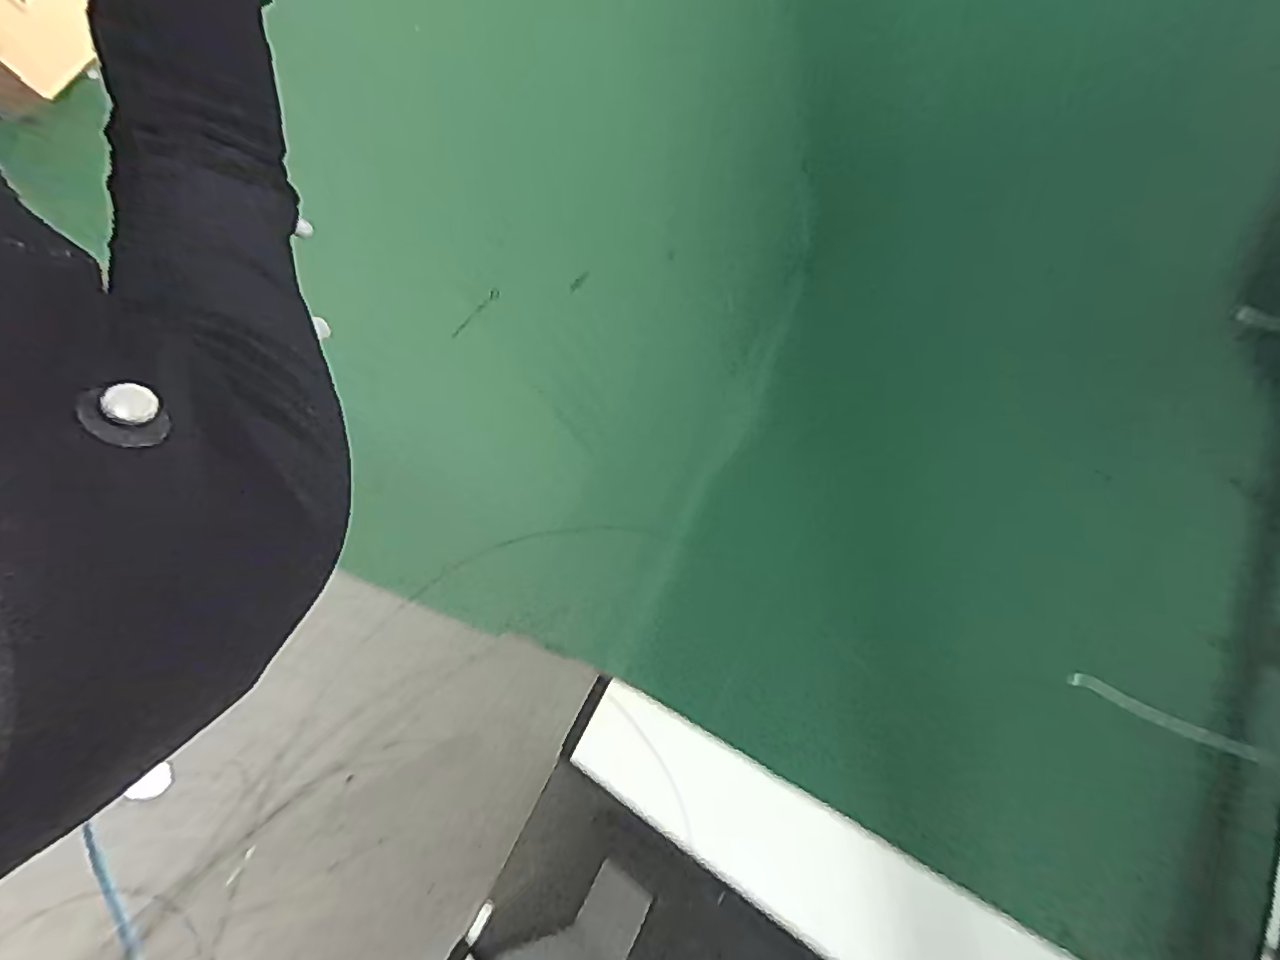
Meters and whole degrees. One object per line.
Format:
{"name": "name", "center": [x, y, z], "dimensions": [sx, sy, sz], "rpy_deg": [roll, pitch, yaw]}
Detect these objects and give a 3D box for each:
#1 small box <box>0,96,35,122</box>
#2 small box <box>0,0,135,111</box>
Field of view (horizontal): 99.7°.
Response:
{"name": "small box", "center": [-0.990, -0.686, 0.827], "dimensions": [0.179, 0.176, 0.168], "rpy_deg": [-61, 145, -15]}
{"name": "small box", "center": [-0.862, -0.643, 0.737], "dimensions": [0.179, 0.176, 0.168], "rpy_deg": [-61, 146, -13]}
